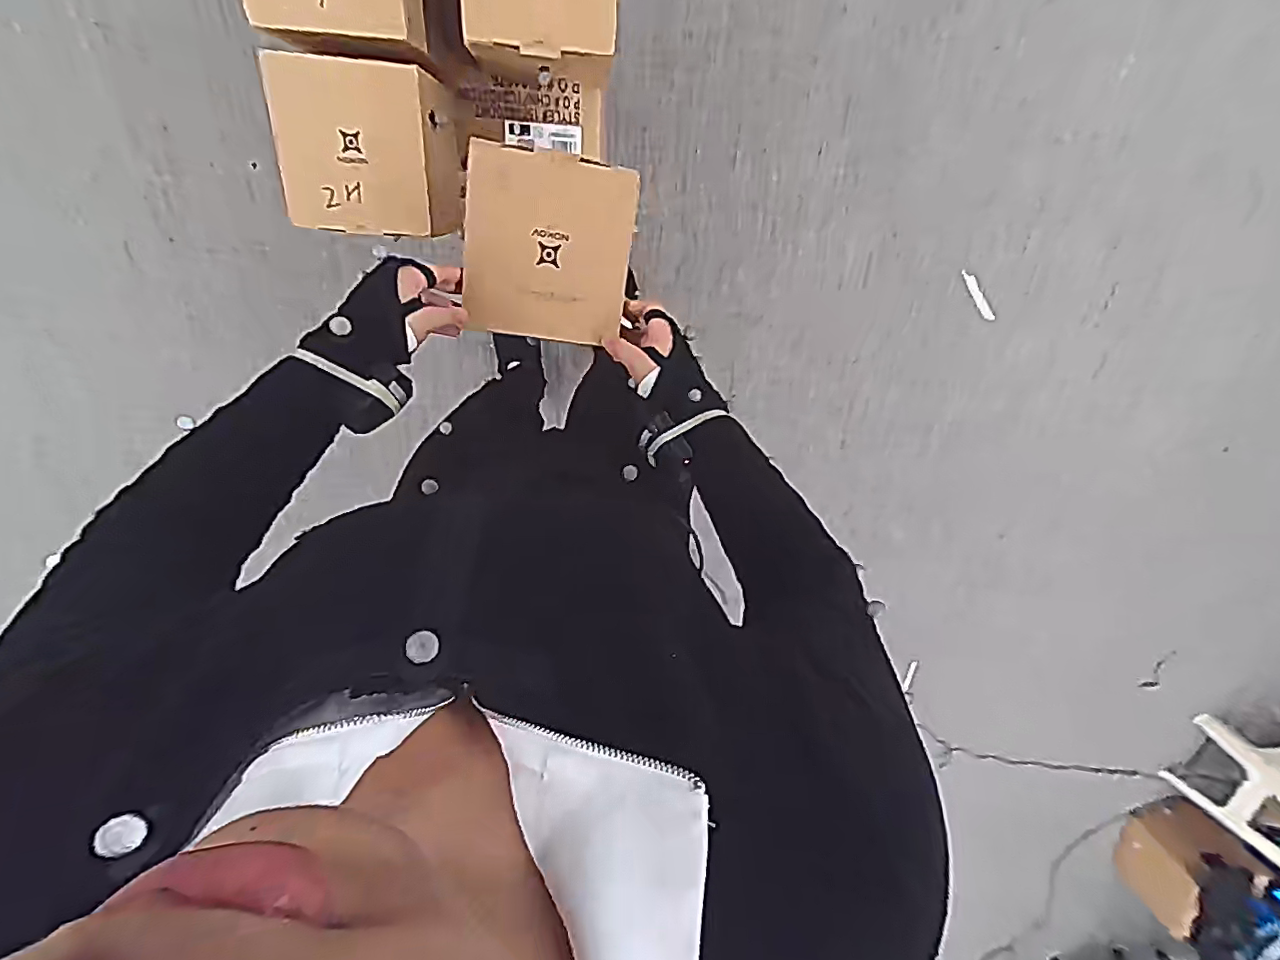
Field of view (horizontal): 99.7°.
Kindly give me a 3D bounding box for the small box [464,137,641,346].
[{"bbox_3d":[-0.102,-0.258,0.622,0.168,0.176,0.179,5,107,-10],"label":"small box"}]
